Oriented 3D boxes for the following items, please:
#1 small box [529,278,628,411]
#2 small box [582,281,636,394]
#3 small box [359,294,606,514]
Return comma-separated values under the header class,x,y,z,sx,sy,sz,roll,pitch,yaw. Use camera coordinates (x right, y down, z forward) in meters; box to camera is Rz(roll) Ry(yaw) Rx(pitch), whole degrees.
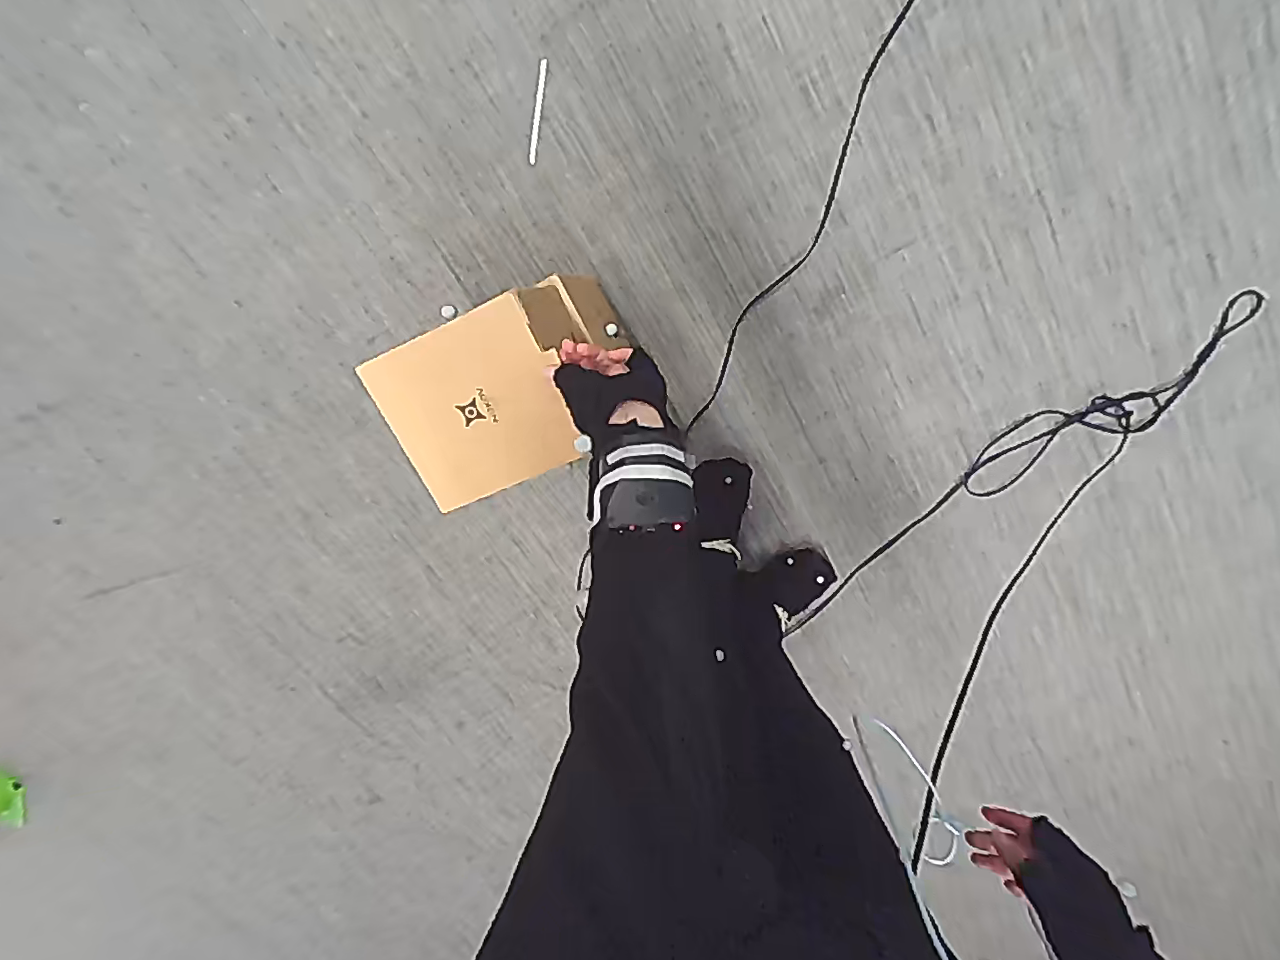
class,x,y,z,sx,sy,sz,roll,pitch,yaw
small box,-0.130,-0.158,0.740,0.179,0.176,0.168,-25,108,12
small box,-0.117,-0.212,0.895,0.168,0.176,0.179,-26,107,12
small box,-0.153,-0.090,0.592,0.179,0.176,0.168,-22,108,11
